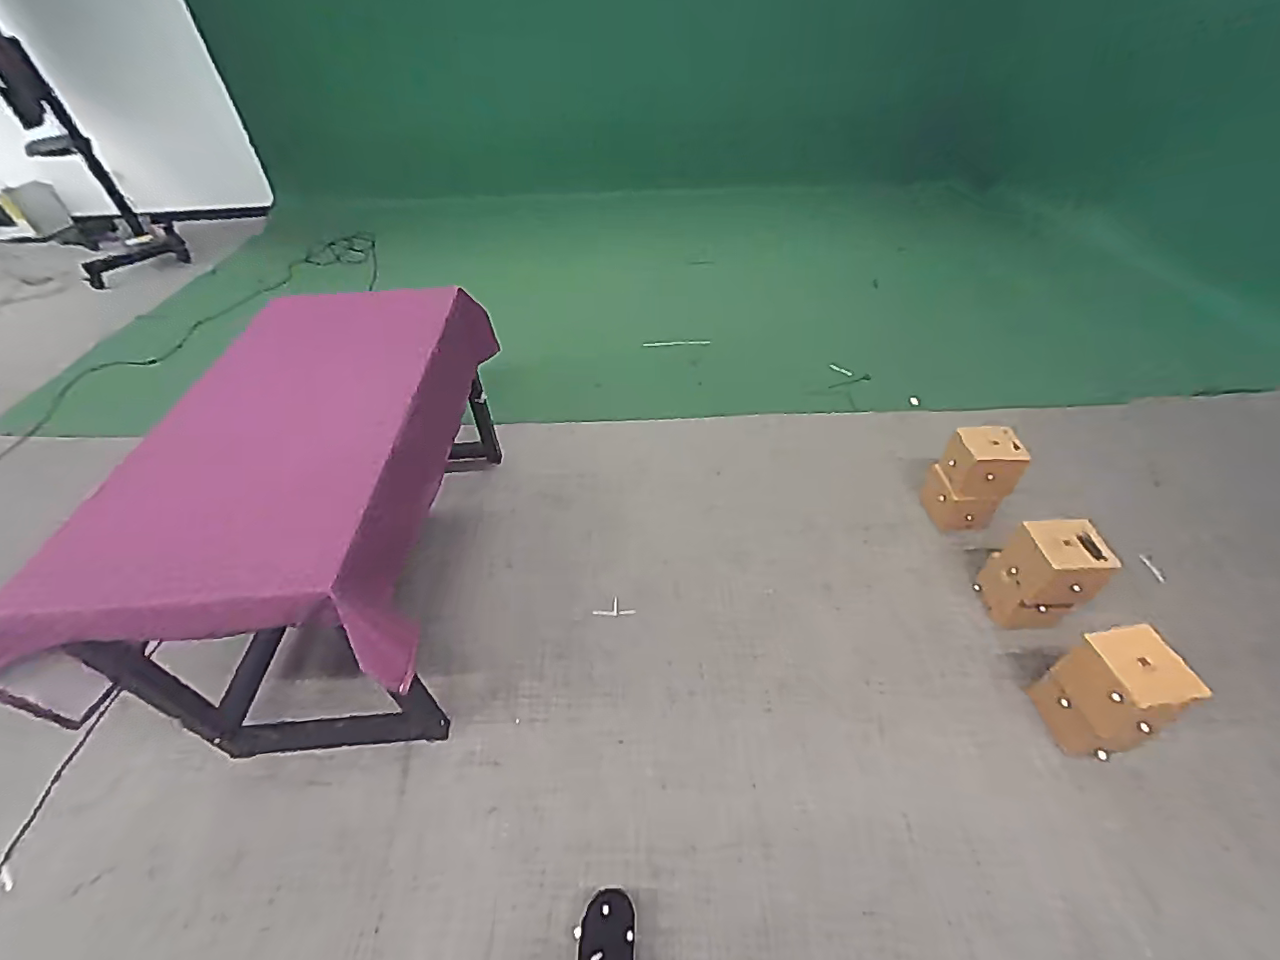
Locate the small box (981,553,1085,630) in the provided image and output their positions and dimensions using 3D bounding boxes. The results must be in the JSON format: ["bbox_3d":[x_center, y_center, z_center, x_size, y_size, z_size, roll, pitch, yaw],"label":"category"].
[{"bbox_3d":[1.152,0.335,1.609,0.179,0.176,0.168,-2,44,1],"label":"small box"}]

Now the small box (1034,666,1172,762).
[{"bbox_3d":[1.143,0.582,1.356,0.168,0.176,0.179,-5,44,1],"label":"small box"}]

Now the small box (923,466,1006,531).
[{"bbox_3d":[1.125,0.066,1.889,0.168,0.176,0.179,-3,44,1],"label":"small box"}]

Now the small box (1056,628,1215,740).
[{"bbox_3d":[1.118,0.468,1.241,0.168,0.176,0.179,-8,45,-4],"label":"small box"}]

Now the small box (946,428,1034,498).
[{"bbox_3d":[1.135,-0.054,1.776,0.179,0.176,0.168,-1,45,4],"label":"small box"}]
